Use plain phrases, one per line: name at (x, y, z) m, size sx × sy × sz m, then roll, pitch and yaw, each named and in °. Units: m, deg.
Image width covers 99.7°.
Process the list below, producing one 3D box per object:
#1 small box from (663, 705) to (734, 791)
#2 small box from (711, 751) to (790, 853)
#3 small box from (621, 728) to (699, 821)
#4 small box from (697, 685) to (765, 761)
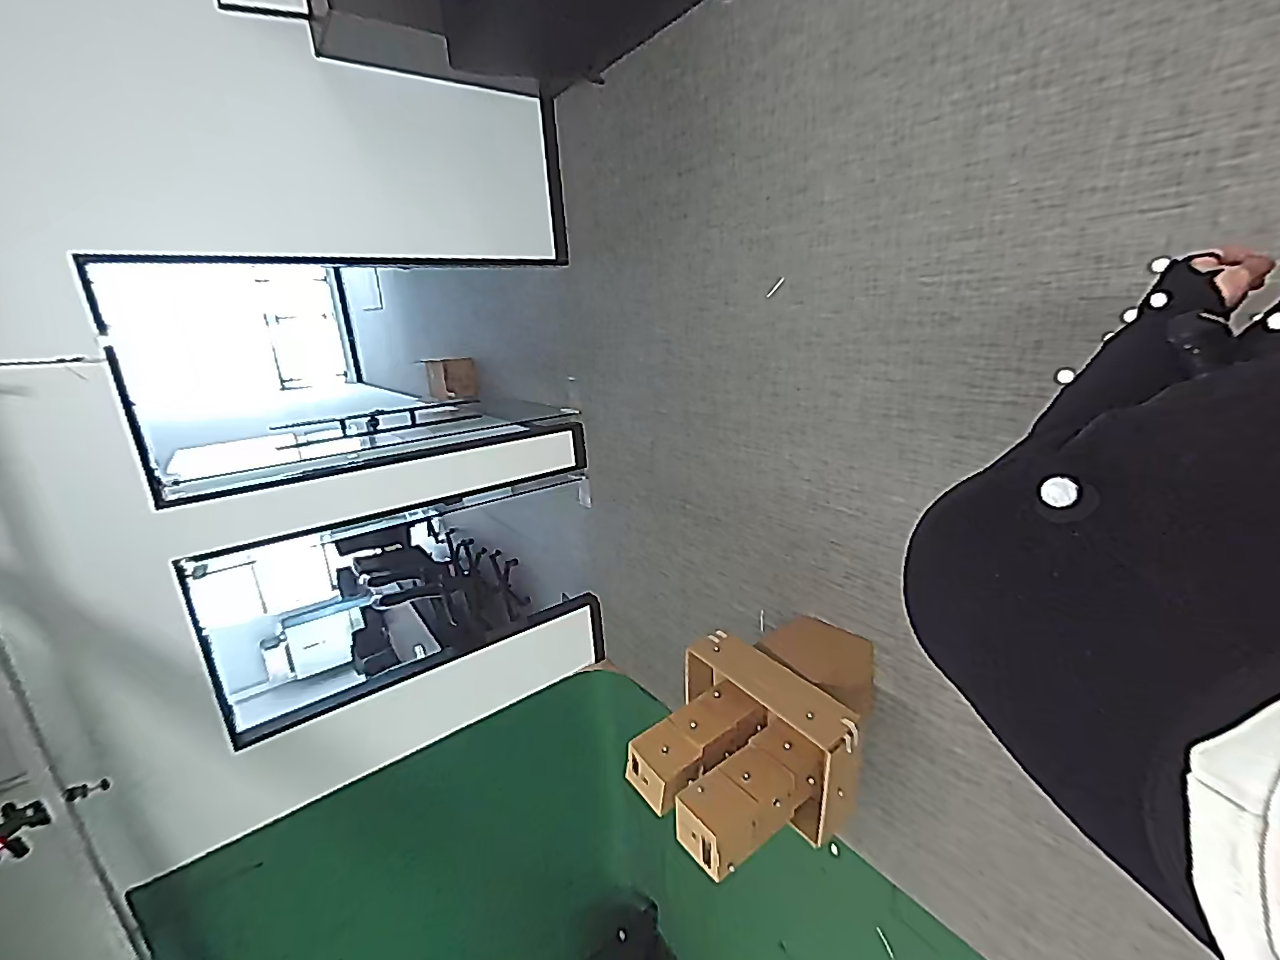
small box at (0.194, 0.893, 1.825) m, size 0.179 × 0.176 × 0.168 m, roll 19°, pitch 116°, yaw 48°
small box at (0.338, 0.966, 1.644) m, size 0.179 × 0.176 × 0.168 m, roll 19°, pitch 116°, yaw 51°
small box at (0.063, 0.930, 1.733) m, size 0.179 × 0.176 × 0.168 m, roll 30°, pitch 125°, yaw 43°
small box at (0.319, 0.858, 1.920) m, size 0.179 × 0.176 × 0.168 m, roll 20°, pitch 119°, yaw 49°
